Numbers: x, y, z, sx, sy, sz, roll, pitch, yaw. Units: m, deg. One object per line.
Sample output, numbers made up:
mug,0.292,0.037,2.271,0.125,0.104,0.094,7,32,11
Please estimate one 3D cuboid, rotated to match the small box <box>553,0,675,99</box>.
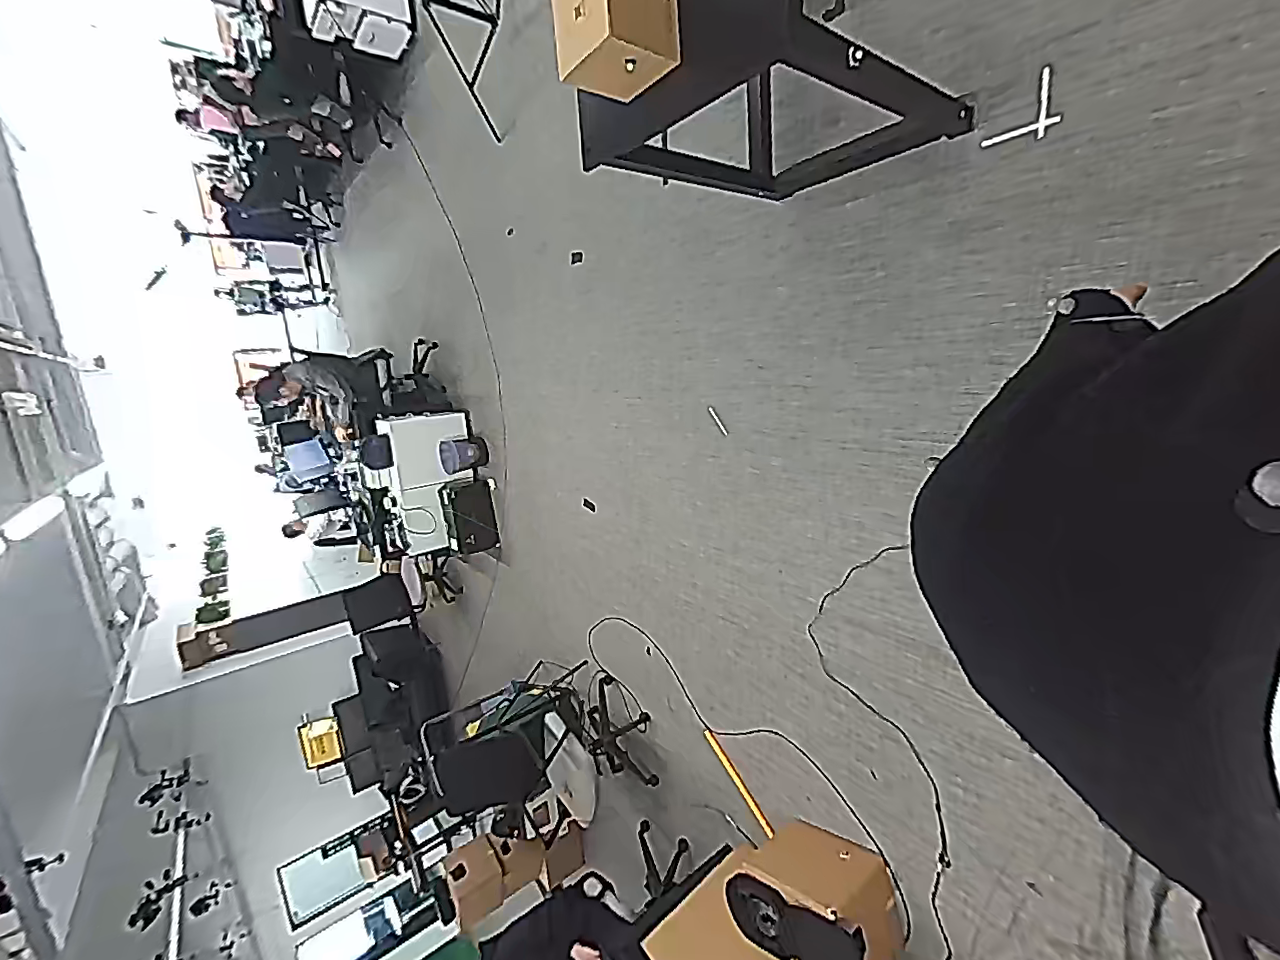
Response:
small box,-0.045,-0.866,1.026,0.179,0.176,0.168,9,106,52
